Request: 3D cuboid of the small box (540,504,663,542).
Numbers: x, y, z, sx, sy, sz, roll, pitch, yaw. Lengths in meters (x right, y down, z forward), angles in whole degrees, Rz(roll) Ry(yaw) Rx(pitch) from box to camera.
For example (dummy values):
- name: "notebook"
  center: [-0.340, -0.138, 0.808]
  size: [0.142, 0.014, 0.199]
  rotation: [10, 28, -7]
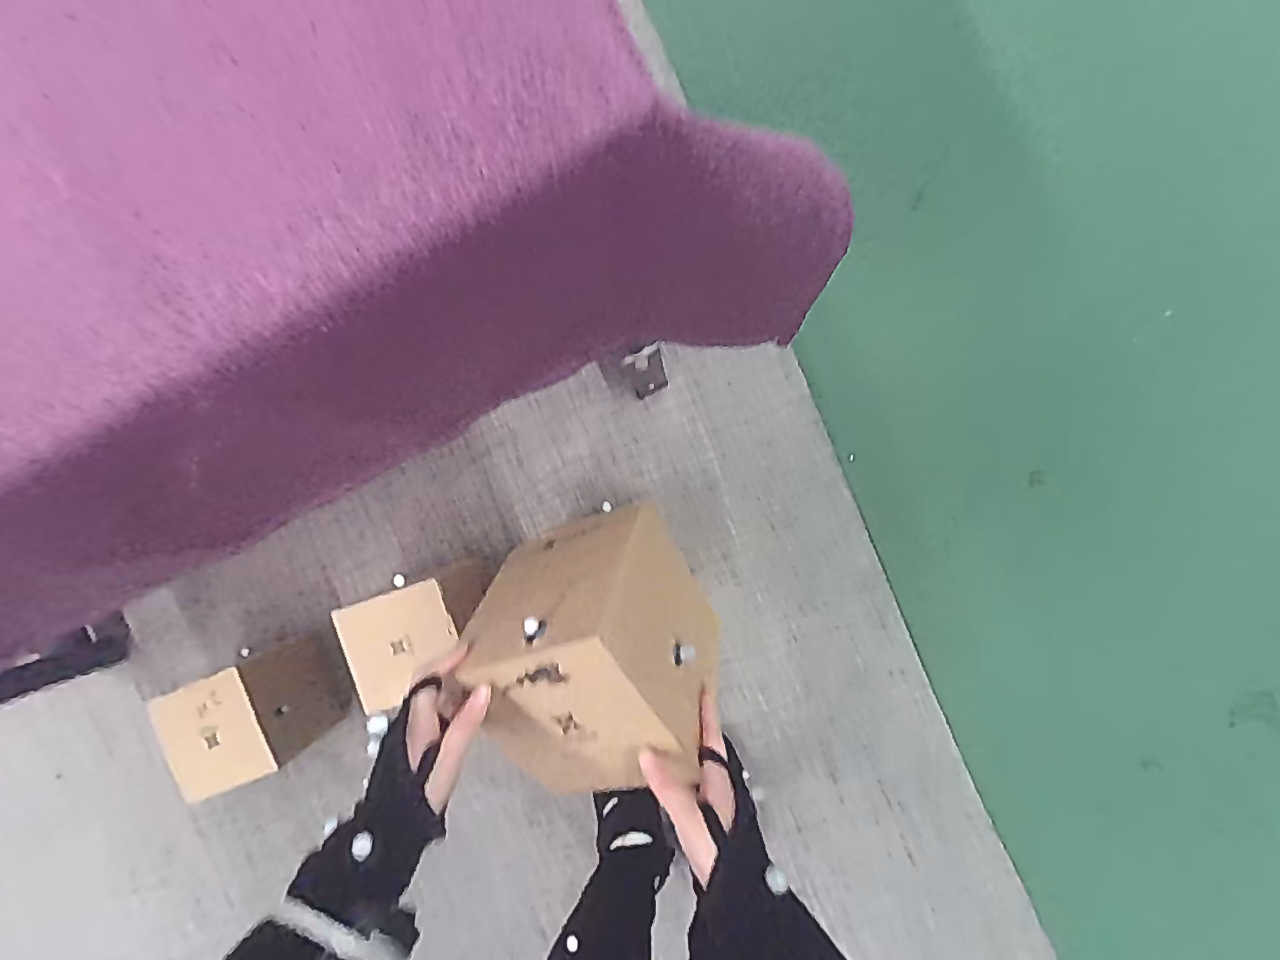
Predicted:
- name: "small box"
  center: [-0.042, 0.144, 0.862]
  size: [0.168, 0.176, 0.179]
  rotation: [-14, 89, 4]

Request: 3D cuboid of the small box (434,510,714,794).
- name: "small box"
  center: [-0.042, 0.159, 0.502]
  size: [0.168, 0.176, 0.179]
  rotation: [-21, 116, 25]
